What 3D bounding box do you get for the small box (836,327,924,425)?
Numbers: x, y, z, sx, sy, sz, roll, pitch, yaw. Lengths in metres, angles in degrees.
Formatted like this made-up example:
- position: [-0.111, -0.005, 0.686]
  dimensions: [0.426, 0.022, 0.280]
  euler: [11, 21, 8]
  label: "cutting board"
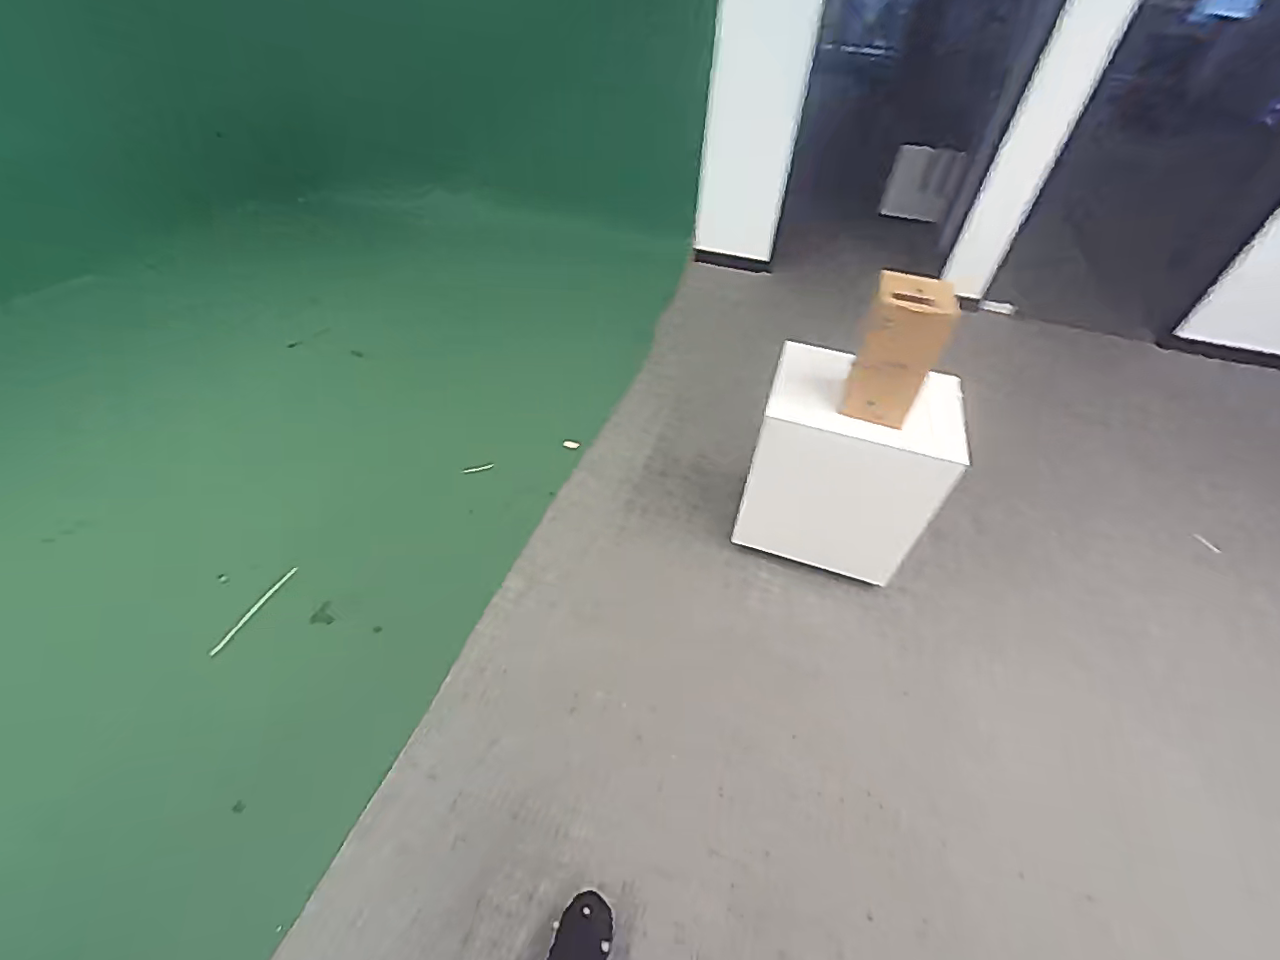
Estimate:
- position: [0.632, -0.276, 1.432]
  dimensions: [0.168, 0.176, 0.179]
  euler: [16, 47, 13]
  label: "small box"
